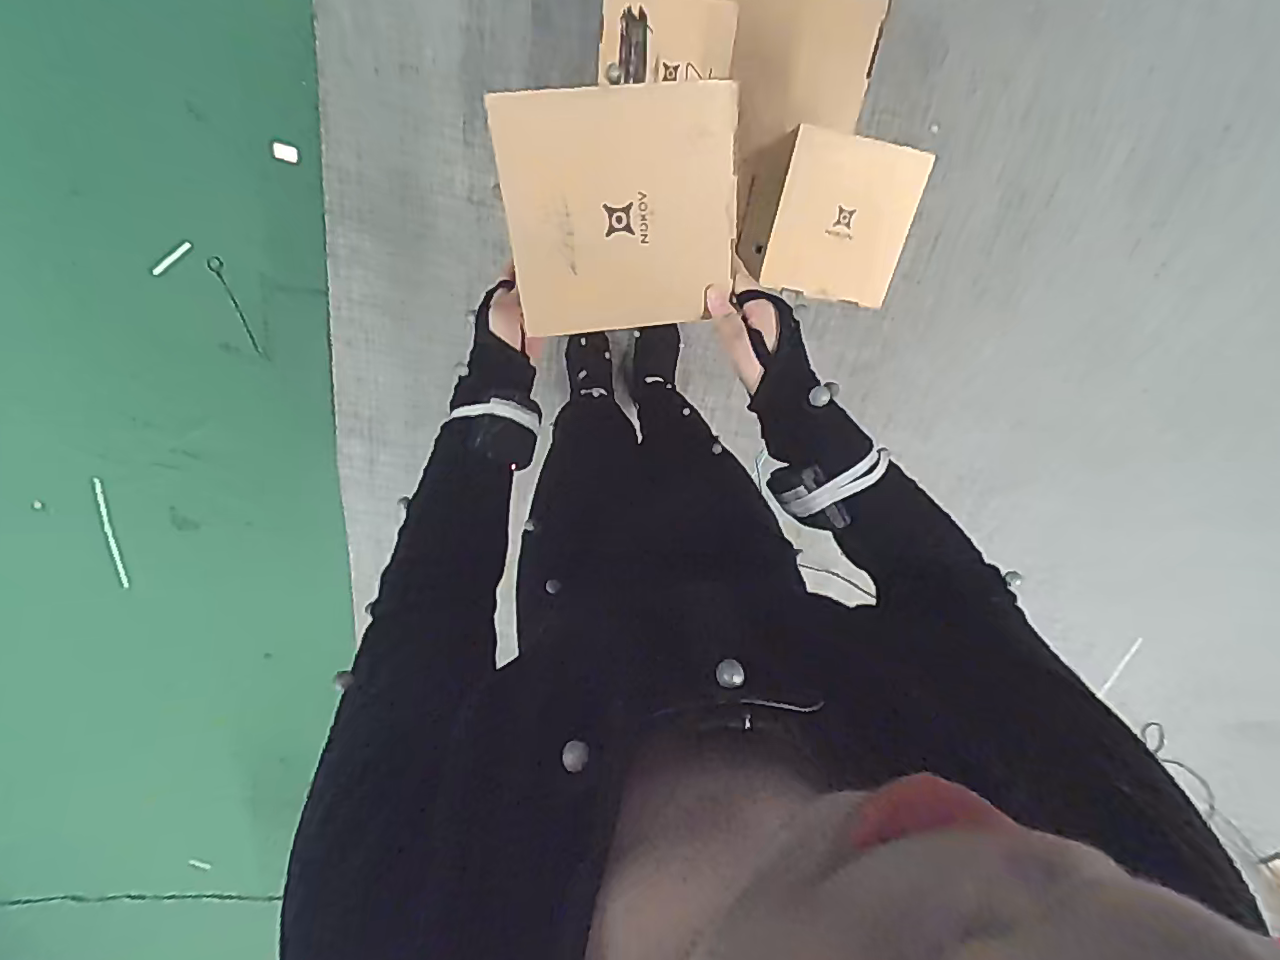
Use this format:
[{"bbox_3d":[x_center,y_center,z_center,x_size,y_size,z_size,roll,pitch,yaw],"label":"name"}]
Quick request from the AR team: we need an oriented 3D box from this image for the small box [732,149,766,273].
[{"bbox_3d":[0.234,-0.408,0.860,0.179,0.176,0.168,9,114,-6],"label":"small box"}]

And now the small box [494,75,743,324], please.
[{"bbox_3d":[-0.024,-0.248,0.477,0.179,0.176,0.168,-7,122,-6],"label":"small box"}]

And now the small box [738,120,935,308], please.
[{"bbox_3d":[0.238,-0.342,0.711,0.168,0.176,0.179,9,116,-6],"label":"small box"}]
